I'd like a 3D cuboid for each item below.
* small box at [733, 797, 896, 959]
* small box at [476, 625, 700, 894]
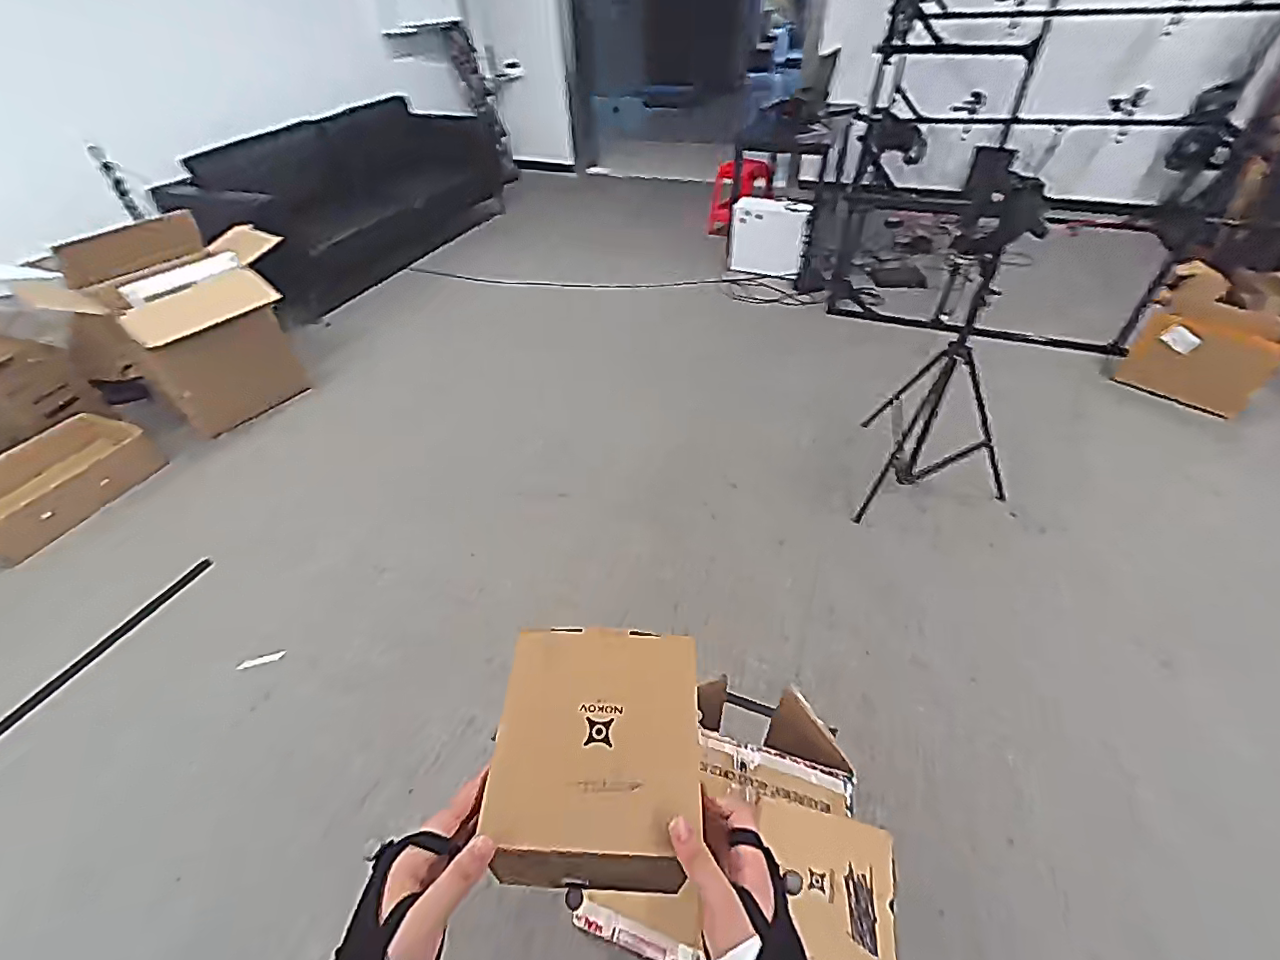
[{"bbox_3d":[0.235,0.571,0.747,0.179,0.176,0.168,10,47,12],"label":"small box"},{"bbox_3d":[-0.041,0.258,0.501,0.168,0.176,0.179,4,46,-2],"label":"small box"}]
